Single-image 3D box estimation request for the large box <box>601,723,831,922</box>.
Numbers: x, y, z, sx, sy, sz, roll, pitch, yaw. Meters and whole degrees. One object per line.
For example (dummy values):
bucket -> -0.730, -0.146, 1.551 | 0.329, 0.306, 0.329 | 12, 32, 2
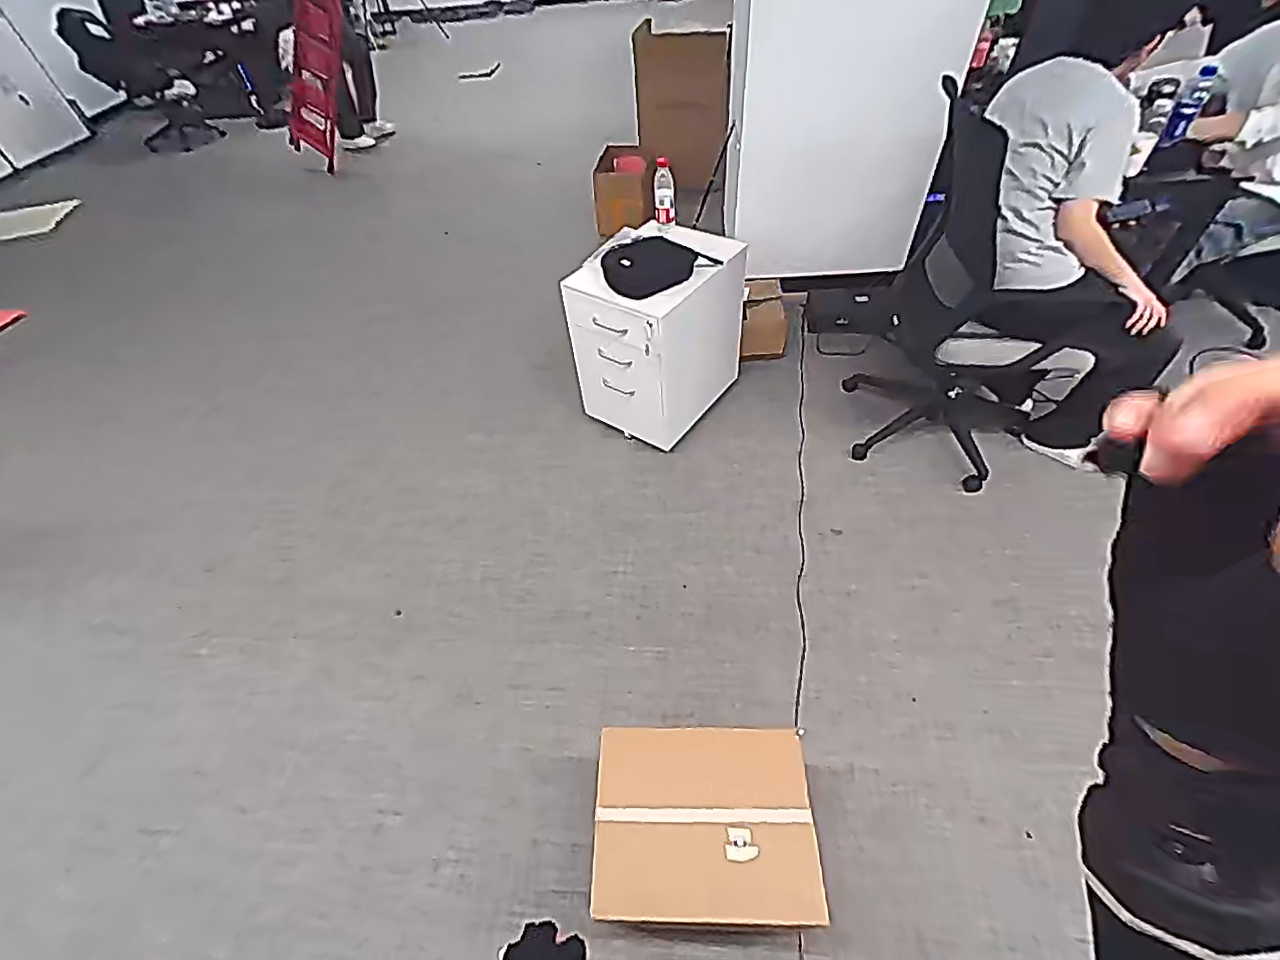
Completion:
large box -> 0.140, 0.720, 1.134 | 0.408, 0.320, 0.320 | -1, 50, 4
